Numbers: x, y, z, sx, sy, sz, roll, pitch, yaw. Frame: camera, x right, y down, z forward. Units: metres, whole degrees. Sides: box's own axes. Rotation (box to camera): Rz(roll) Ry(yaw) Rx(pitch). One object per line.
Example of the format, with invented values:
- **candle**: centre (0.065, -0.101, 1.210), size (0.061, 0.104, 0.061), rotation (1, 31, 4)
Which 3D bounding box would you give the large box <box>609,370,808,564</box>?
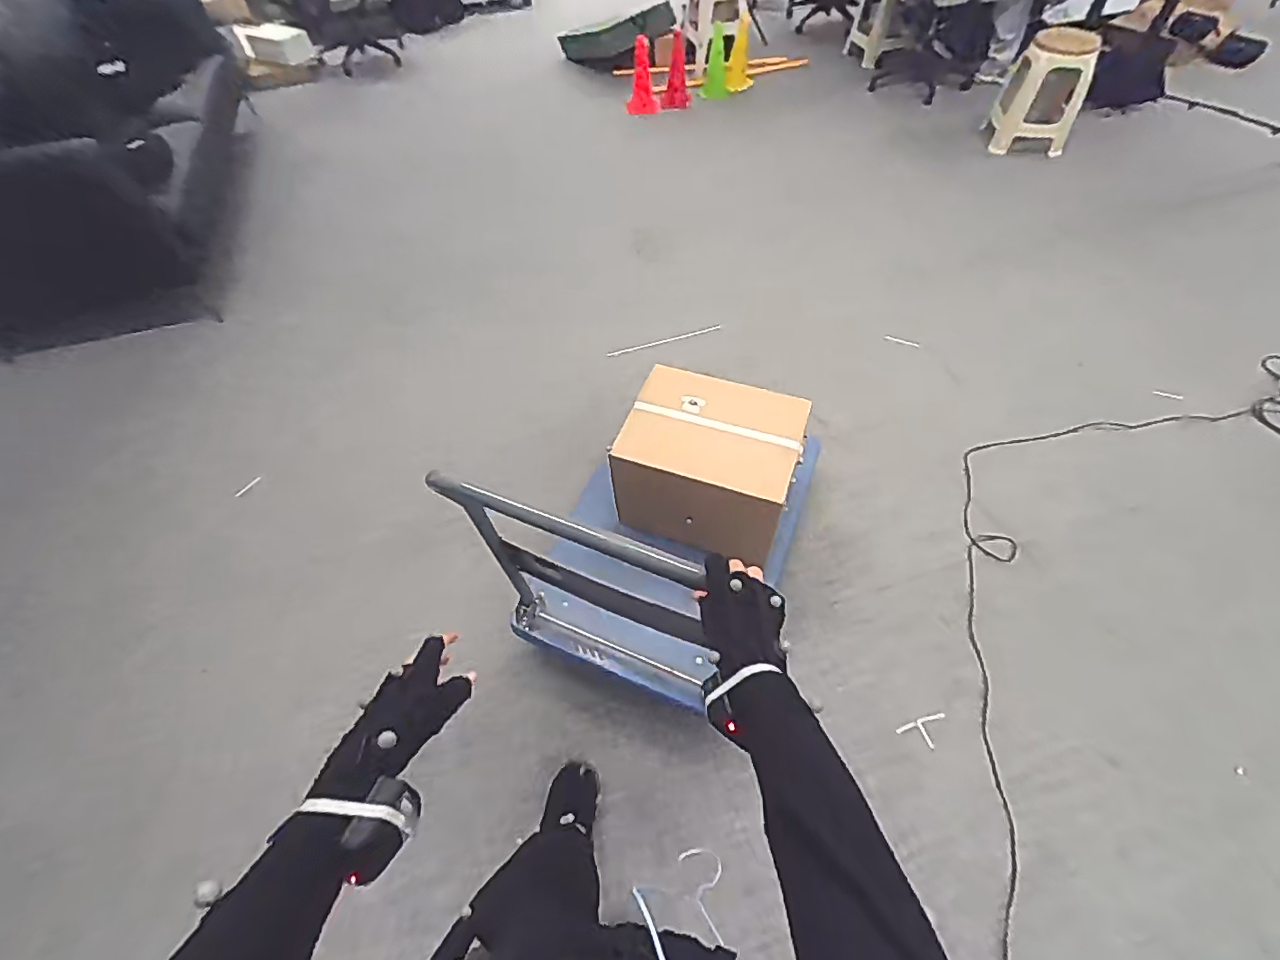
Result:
- **large box**: centre (0.178, -0.030, 1.381), size (0.408, 0.320, 0.320), rotation (16, 57, 16)
